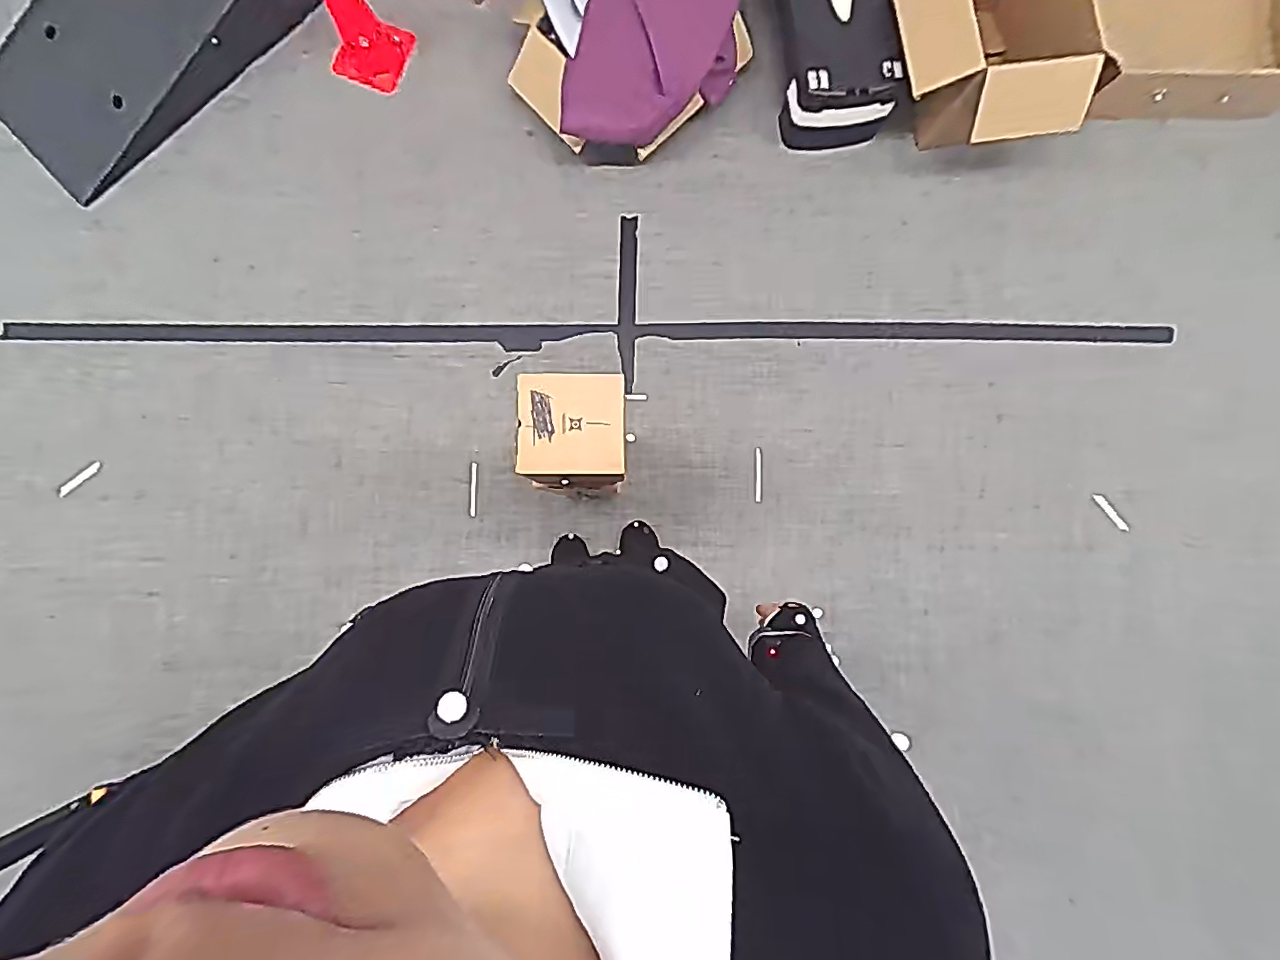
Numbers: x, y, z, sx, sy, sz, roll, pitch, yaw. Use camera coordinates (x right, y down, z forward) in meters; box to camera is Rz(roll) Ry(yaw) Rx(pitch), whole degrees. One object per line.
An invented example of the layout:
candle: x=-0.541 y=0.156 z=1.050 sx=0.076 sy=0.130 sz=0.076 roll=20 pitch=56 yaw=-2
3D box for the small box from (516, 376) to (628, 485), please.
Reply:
small box: x=-0.111 y=-0.079 z=0.949 sx=0.179 sy=0.176 sz=0.168 roll=0 pitch=86 yaw=-1

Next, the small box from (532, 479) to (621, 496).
small box: x=-0.122 y=-0.058 z=1.113 sx=0.168 sy=0.176 sz=0.179 roll=2 pitch=86 yaw=0
